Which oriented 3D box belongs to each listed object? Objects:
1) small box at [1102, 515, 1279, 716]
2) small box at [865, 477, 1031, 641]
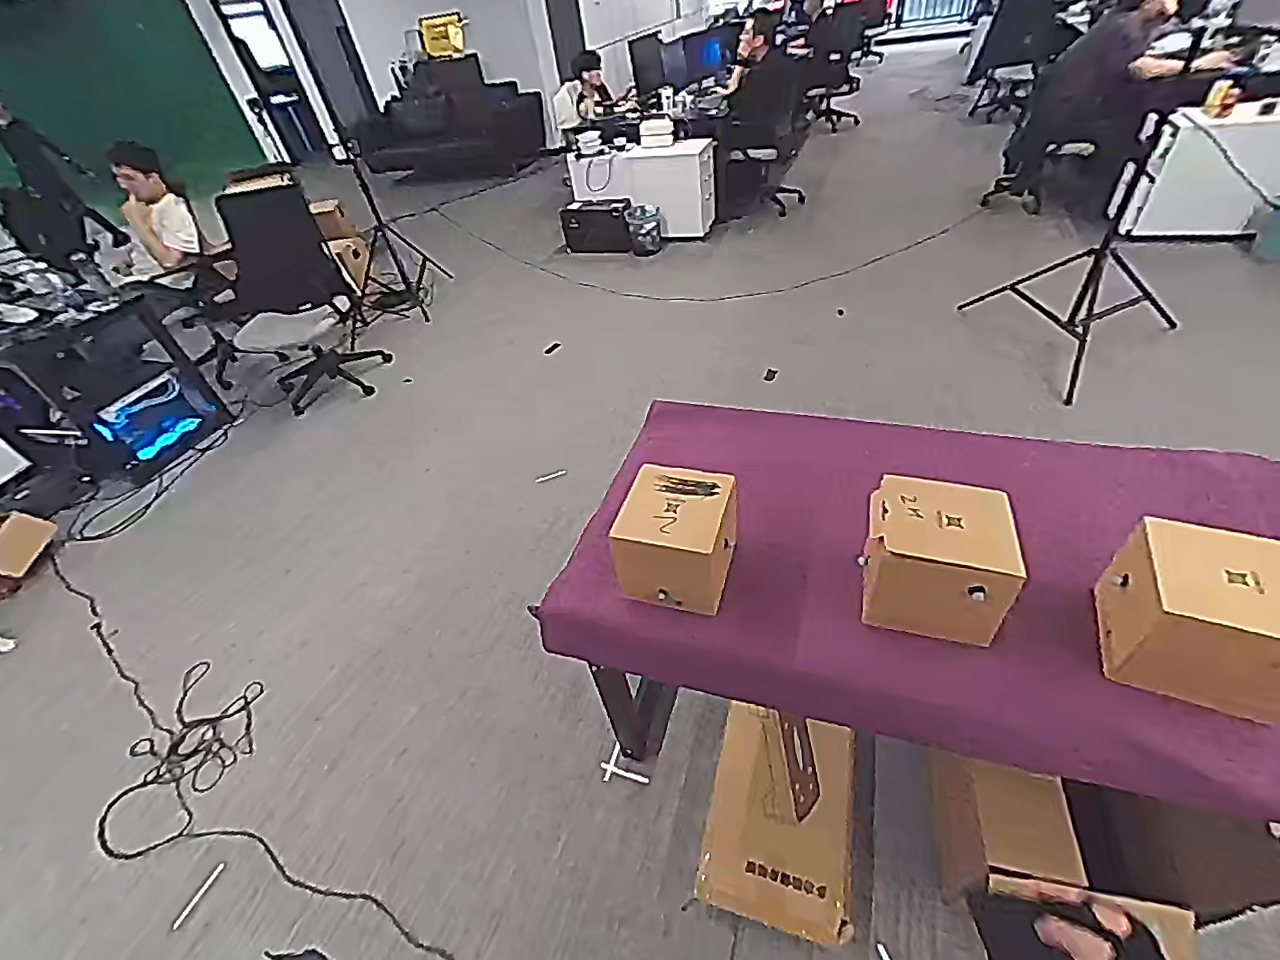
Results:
[{"bbox_3d":[0.741,0.176,0.704,0.179,0.176,0.168,13,47,23],"label":"small box"},{"bbox_3d":[0.450,0.120,0.819,0.179,0.176,0.168,7,43,18],"label":"small box"}]
